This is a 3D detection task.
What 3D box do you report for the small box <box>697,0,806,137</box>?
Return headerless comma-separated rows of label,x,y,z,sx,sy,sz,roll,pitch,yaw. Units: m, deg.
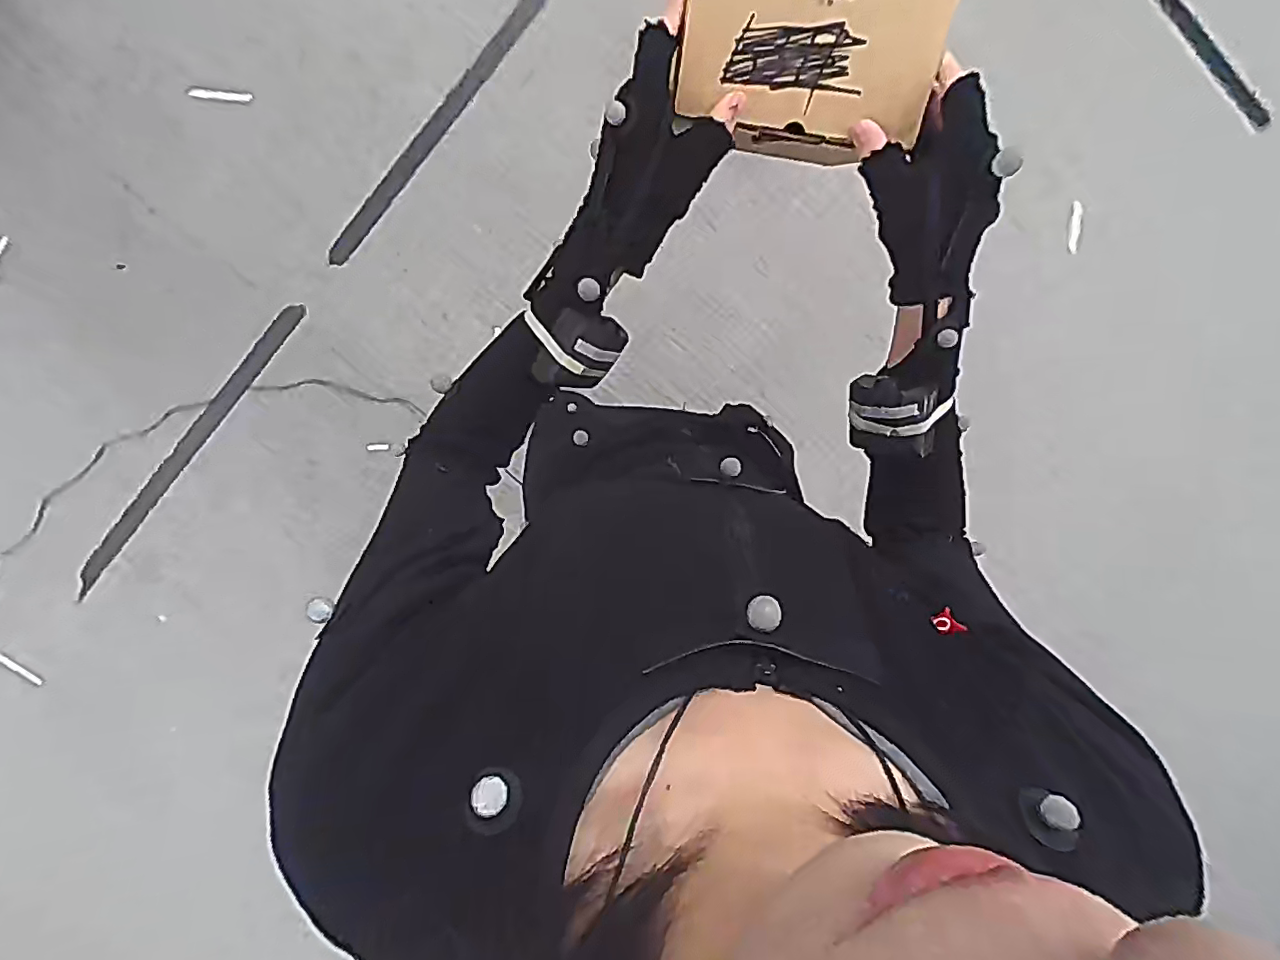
small box,0.255,-0.964,1.276,0.179,0.176,0.168,-34,99,4
